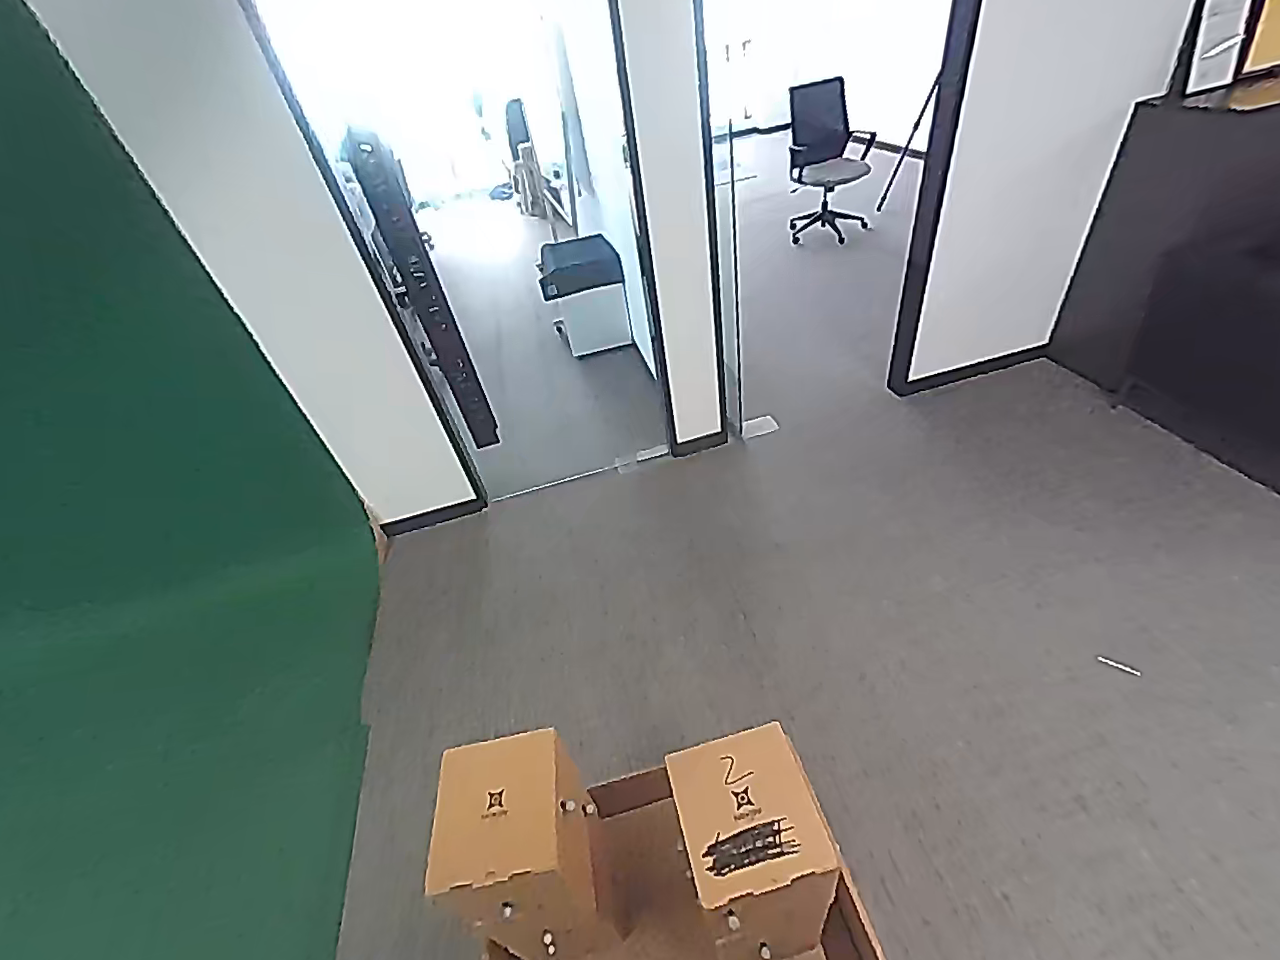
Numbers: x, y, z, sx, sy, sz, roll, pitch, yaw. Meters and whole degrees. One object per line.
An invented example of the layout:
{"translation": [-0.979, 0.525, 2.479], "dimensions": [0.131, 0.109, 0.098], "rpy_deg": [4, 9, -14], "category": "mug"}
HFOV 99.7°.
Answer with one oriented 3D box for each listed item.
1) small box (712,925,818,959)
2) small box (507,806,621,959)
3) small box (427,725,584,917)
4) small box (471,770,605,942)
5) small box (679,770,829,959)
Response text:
{"translation": [0.190, 0.706, 0.931], "dimensions": [0.168, 0.176, 0.179], "rpy_deg": [-14, 40, -5], "category": "small box"}
{"translation": [-0.135, 0.730, 0.978], "dimensions": [0.168, 0.176, 0.179], "rpy_deg": [-13, 40, -2], "category": "small box"}
{"translation": [-0.178, 0.484, 0.769], "dimensions": [0.168, 0.176, 0.179], "rpy_deg": [-11, 41, 0], "category": "small box"}
{"translation": [-0.157, 0.606, 0.874], "dimensions": [0.168, 0.176, 0.179], "rpy_deg": [-13, 41, -1], "category": "small box"}
{"translation": [0.165, 0.585, 0.825], "dimensions": [0.168, 0.176, 0.179], "rpy_deg": [-15, 41, -5], "category": "small box"}
